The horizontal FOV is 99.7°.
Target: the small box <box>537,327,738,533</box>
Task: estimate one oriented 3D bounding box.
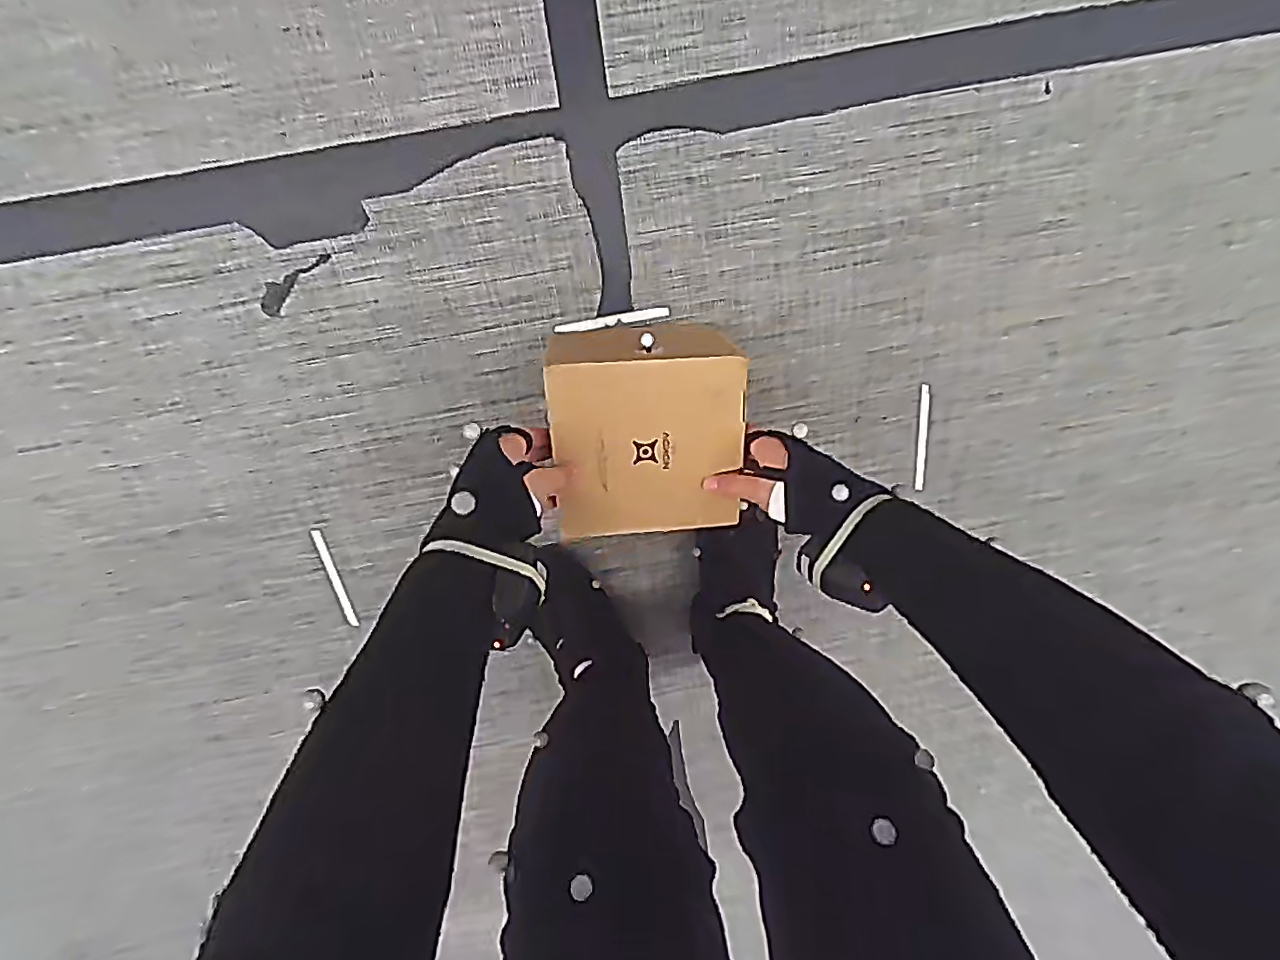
[{"bbox_3d":[-0.008,-0.062,0.563,0.179,0.176,0.168,-4,114,-4],"label":"small box"}]
